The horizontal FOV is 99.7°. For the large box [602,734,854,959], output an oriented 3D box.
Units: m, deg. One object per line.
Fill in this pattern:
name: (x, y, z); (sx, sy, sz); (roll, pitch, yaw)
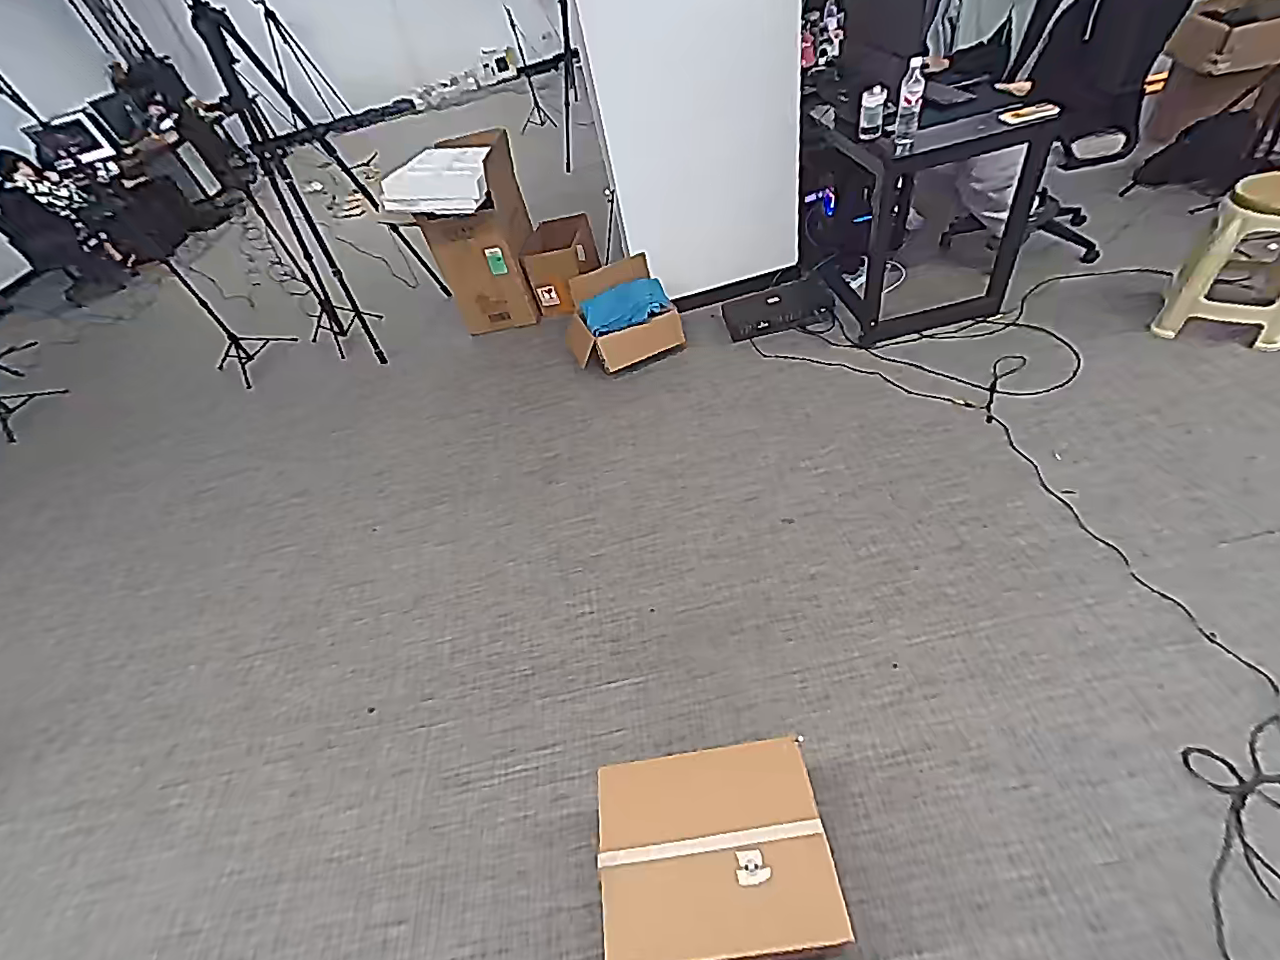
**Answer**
large box: (0.159, 0.751, 1.076); (0.408, 0.320, 0.320); (-11, 46, 4)
